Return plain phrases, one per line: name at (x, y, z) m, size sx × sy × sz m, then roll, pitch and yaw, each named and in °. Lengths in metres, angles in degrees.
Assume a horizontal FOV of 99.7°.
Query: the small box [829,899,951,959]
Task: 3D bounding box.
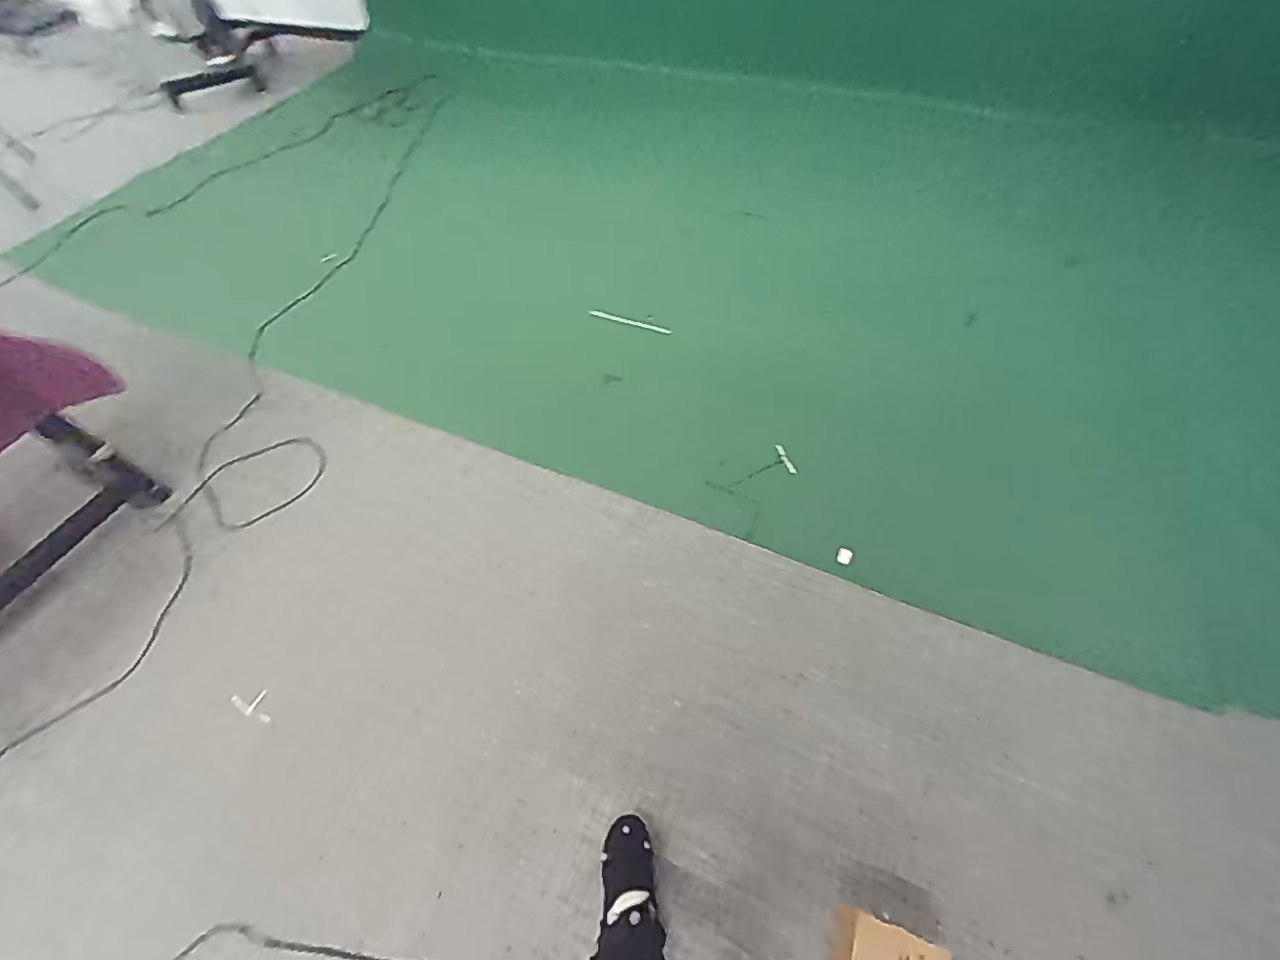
small box at (0.461, 0.928, 1.018) m, size 0.168 × 0.176 × 0.179 m, roll 16°, pitch 55°, yaw 16°
